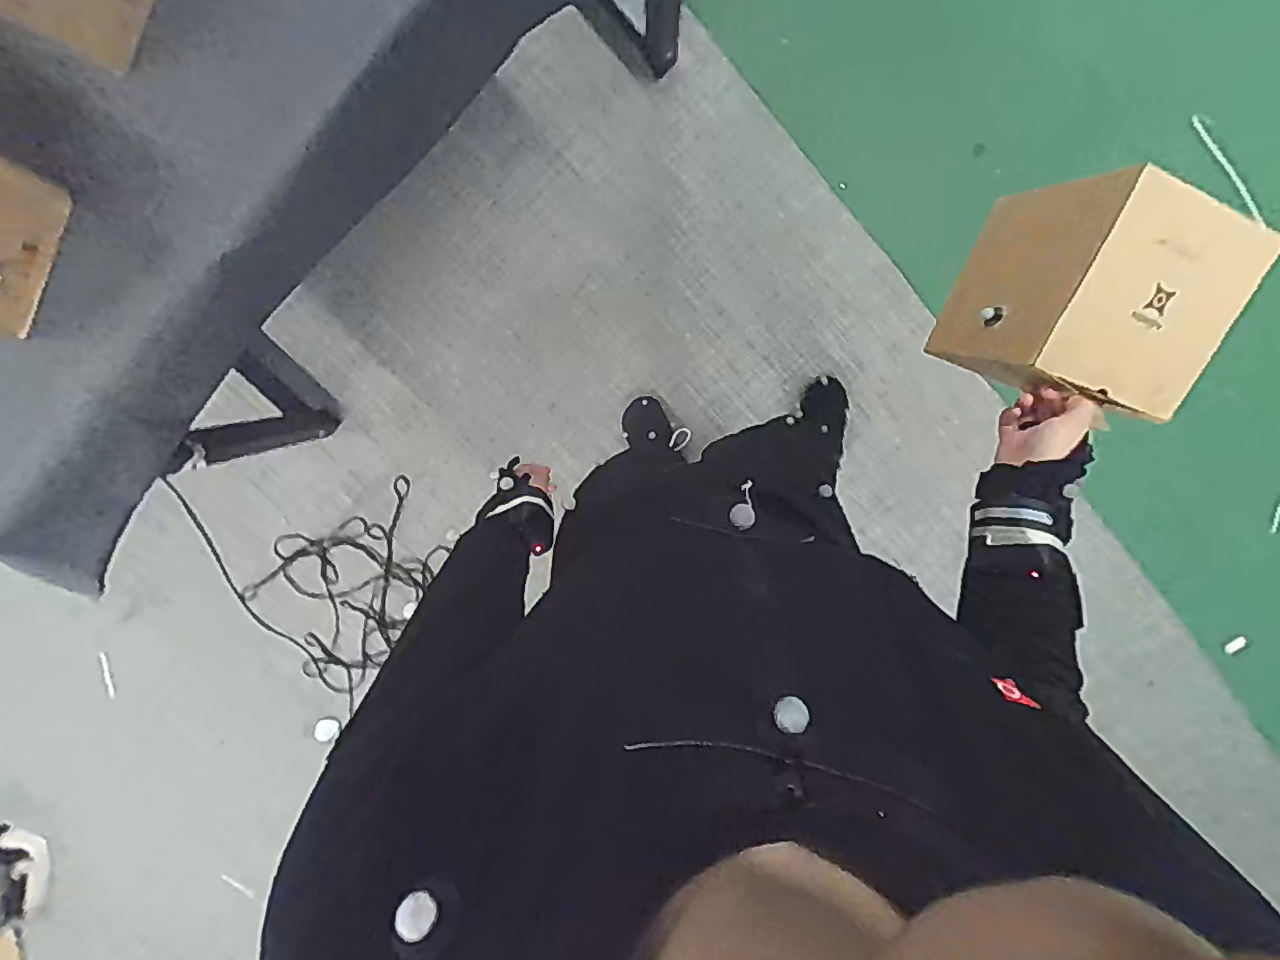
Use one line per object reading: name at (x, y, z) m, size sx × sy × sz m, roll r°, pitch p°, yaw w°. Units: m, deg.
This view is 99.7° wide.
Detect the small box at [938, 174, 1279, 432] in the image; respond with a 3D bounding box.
small box at (0.447, -0.172, 0.553) m, size 0.168 × 0.176 × 0.179 m, roll 18°, pitch 105°, yaw -13°

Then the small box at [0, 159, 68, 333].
small box at (-0.691, -0.243, 0.475) m, size 0.179 × 0.176 × 0.168 m, roll 30°, pitch 100°, yaw -6°
